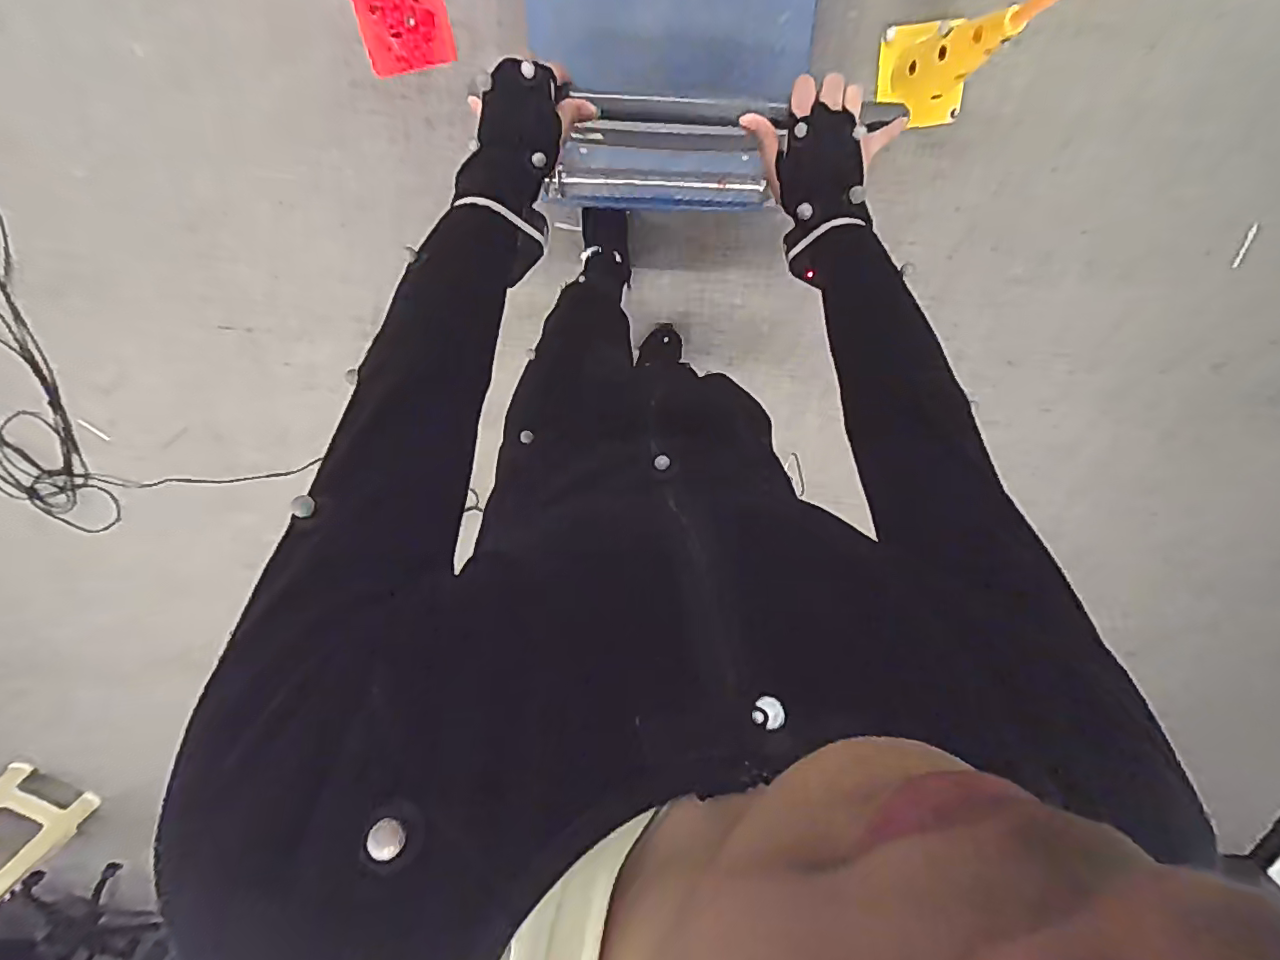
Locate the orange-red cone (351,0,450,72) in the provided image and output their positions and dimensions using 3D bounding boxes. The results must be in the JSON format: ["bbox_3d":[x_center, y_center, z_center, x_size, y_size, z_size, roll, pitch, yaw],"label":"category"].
[{"bbox_3d":[-0.534,-0.962,1.038,0.199,0.360,0.198,-8,114,4],"label":"orange-red cone"}]
